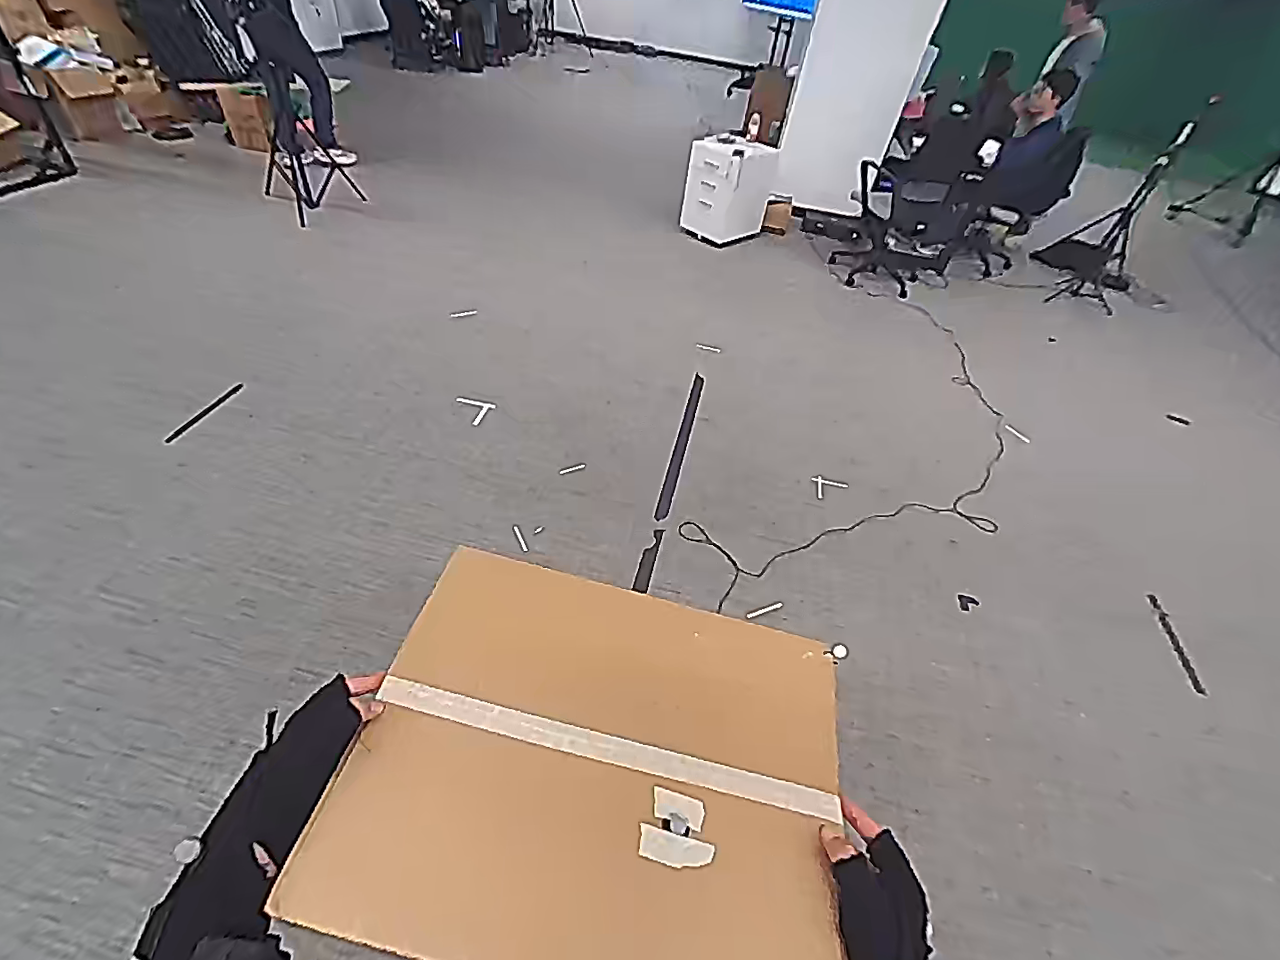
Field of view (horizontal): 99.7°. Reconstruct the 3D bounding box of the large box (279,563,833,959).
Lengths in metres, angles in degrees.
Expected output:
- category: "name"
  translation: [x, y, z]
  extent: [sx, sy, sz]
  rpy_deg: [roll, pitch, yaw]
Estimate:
- category: "large box"
  translation: [-0.055, 0.340, 0.575]
  extent: [0.408, 0.320, 0.320]
  rpy_deg: [15, 48, 1]
